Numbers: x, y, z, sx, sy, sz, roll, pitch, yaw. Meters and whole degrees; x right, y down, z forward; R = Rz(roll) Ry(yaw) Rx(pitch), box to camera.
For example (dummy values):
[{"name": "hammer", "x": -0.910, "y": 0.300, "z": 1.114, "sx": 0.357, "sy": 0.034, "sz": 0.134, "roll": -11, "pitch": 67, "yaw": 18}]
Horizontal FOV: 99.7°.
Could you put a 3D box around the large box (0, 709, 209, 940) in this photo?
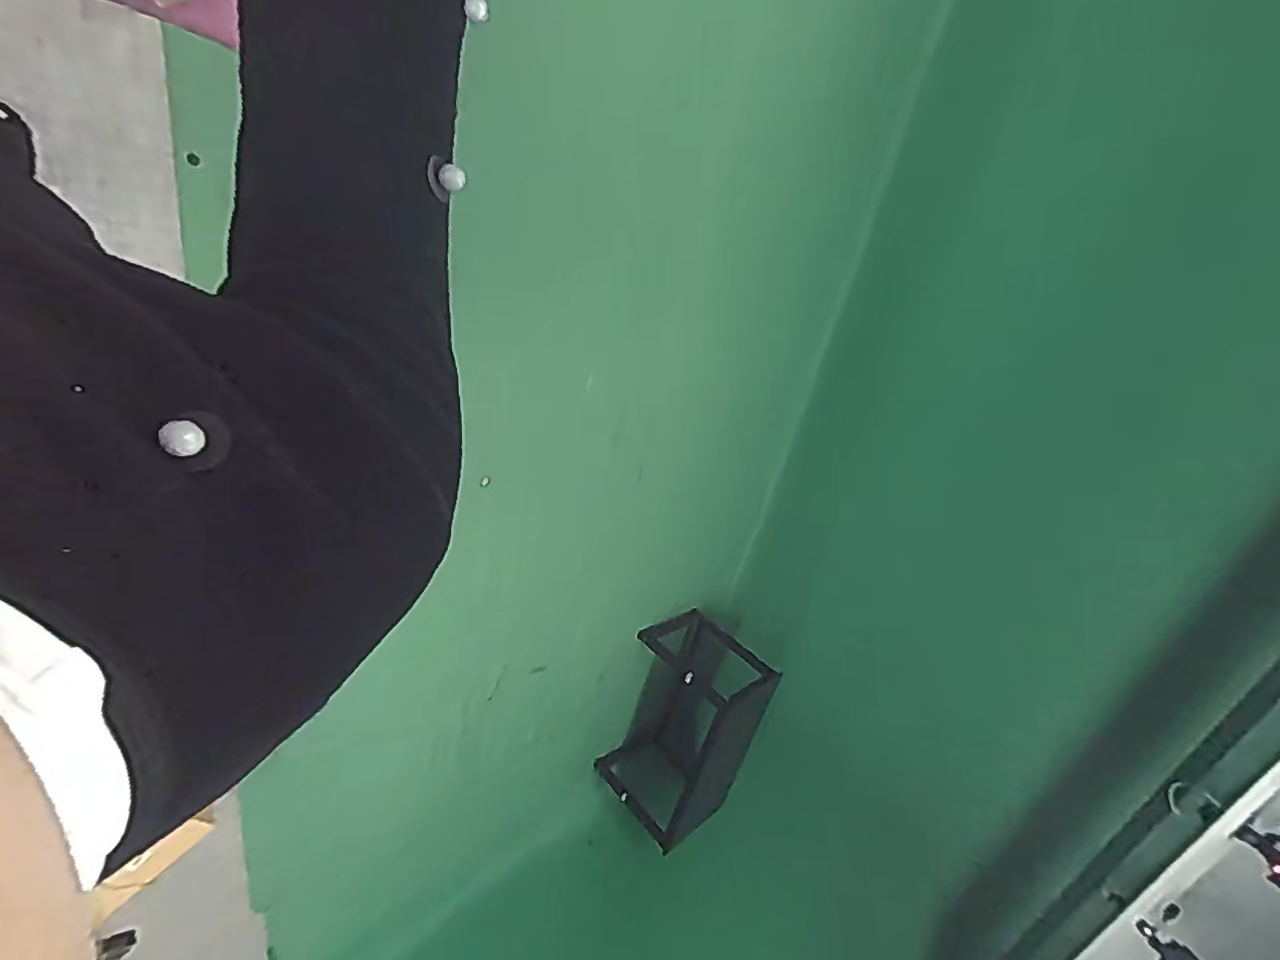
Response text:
[{"name": "large box", "x": -1.516, "y": 0.927, "z": 1.474, "sx": 0.408, "sy": 0.320, "sz": 0.320, "roll": -41, "pitch": 142, "yaw": -22}]
